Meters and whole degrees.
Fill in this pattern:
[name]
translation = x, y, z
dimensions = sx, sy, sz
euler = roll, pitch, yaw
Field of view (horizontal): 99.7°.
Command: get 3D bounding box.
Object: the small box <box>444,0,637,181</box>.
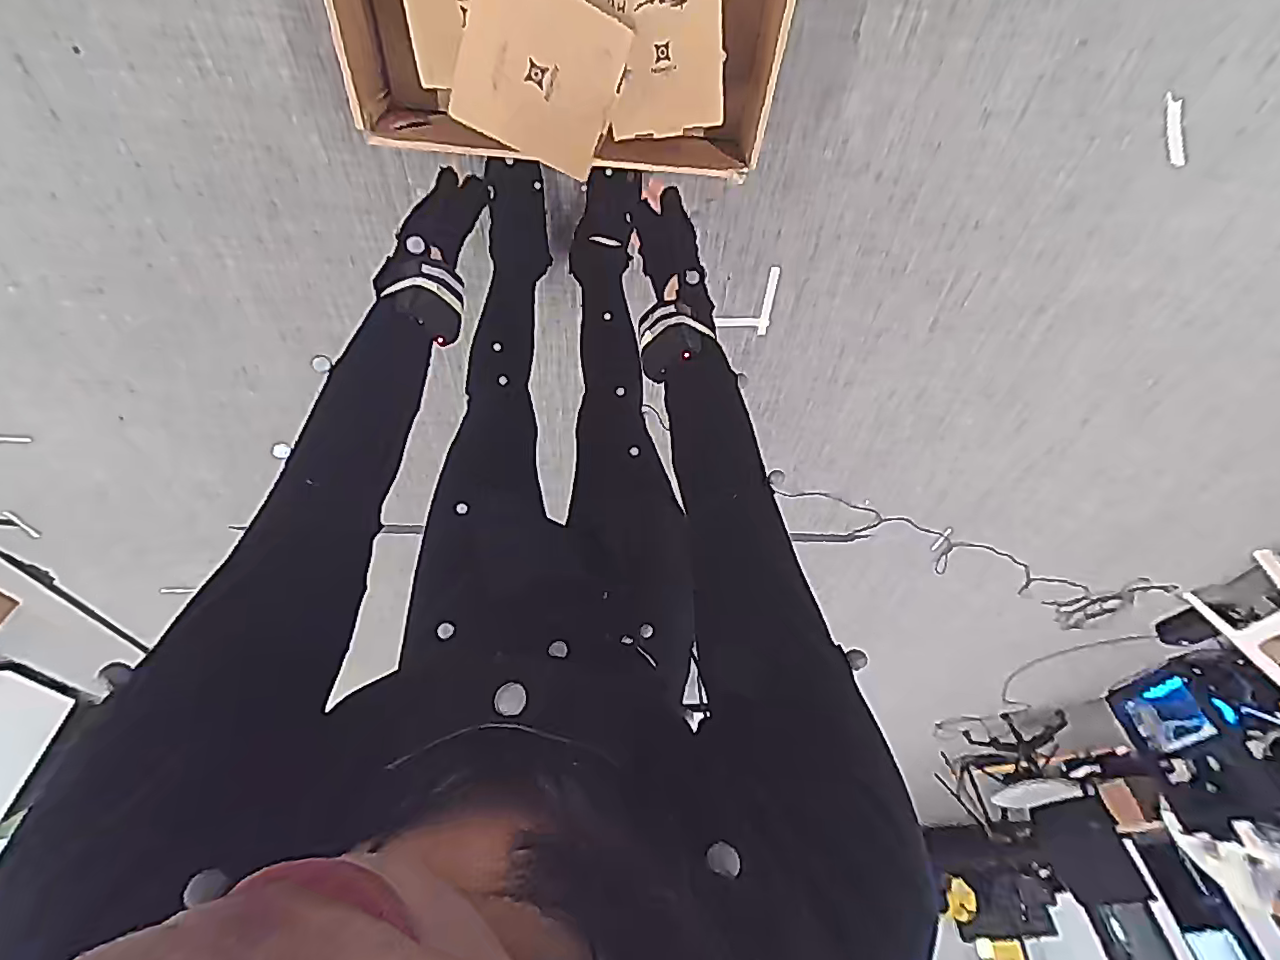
[small box]
translation = -0.117, -0.508, 0.664
dimensions = 0.179, 0.176, 0.168
euler = 19, 127, -18
